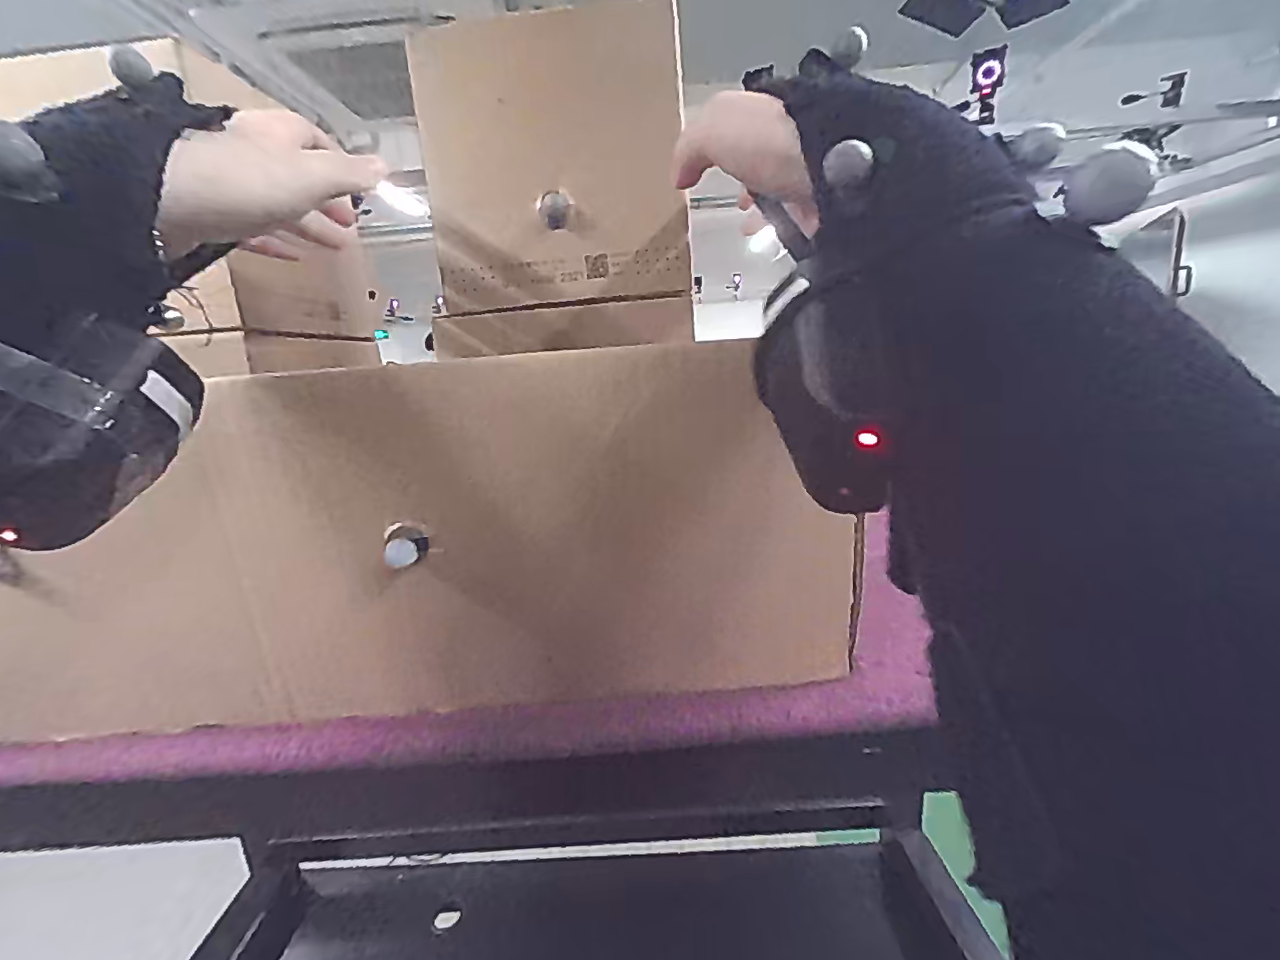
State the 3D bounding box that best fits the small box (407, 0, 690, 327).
[{"bbox_3d":[-0.051,-0.214,0.419,0.168,0.176,0.179,-5,13,4],"label":"small box"}]
